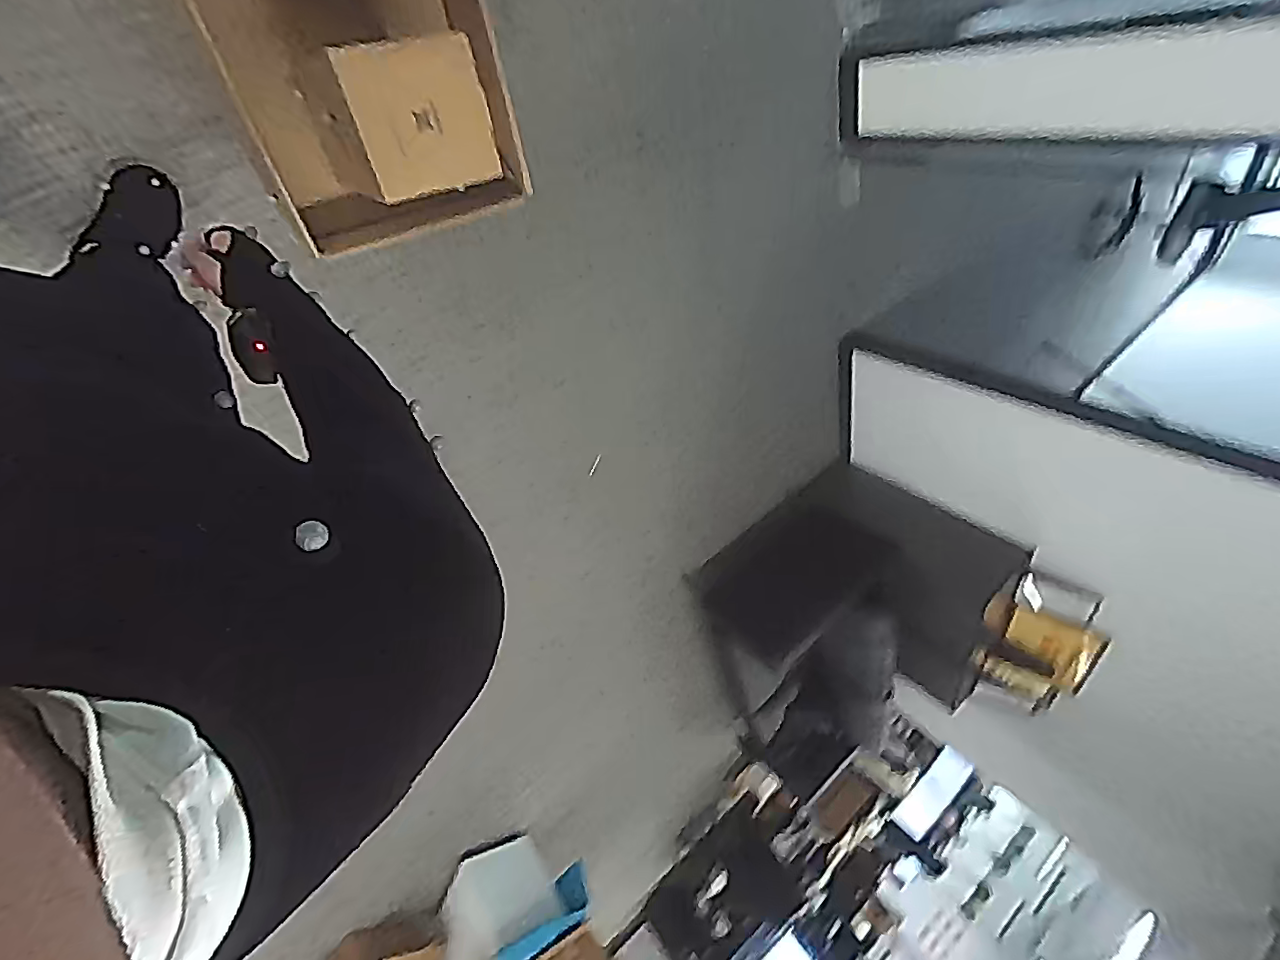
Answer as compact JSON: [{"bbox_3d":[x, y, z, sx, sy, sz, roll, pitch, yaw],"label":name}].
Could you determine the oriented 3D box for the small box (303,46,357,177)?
[{"bbox_3d":[-0.414,-0.593,0.869,0.179,0.176,0.168,-28,133,-24],"label":"small box"}]

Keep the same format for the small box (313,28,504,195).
[{"bbox_3d":[-0.322,-0.516,0.759,0.179,0.176,0.168,-28,132,-23],"label":"small box"}]
